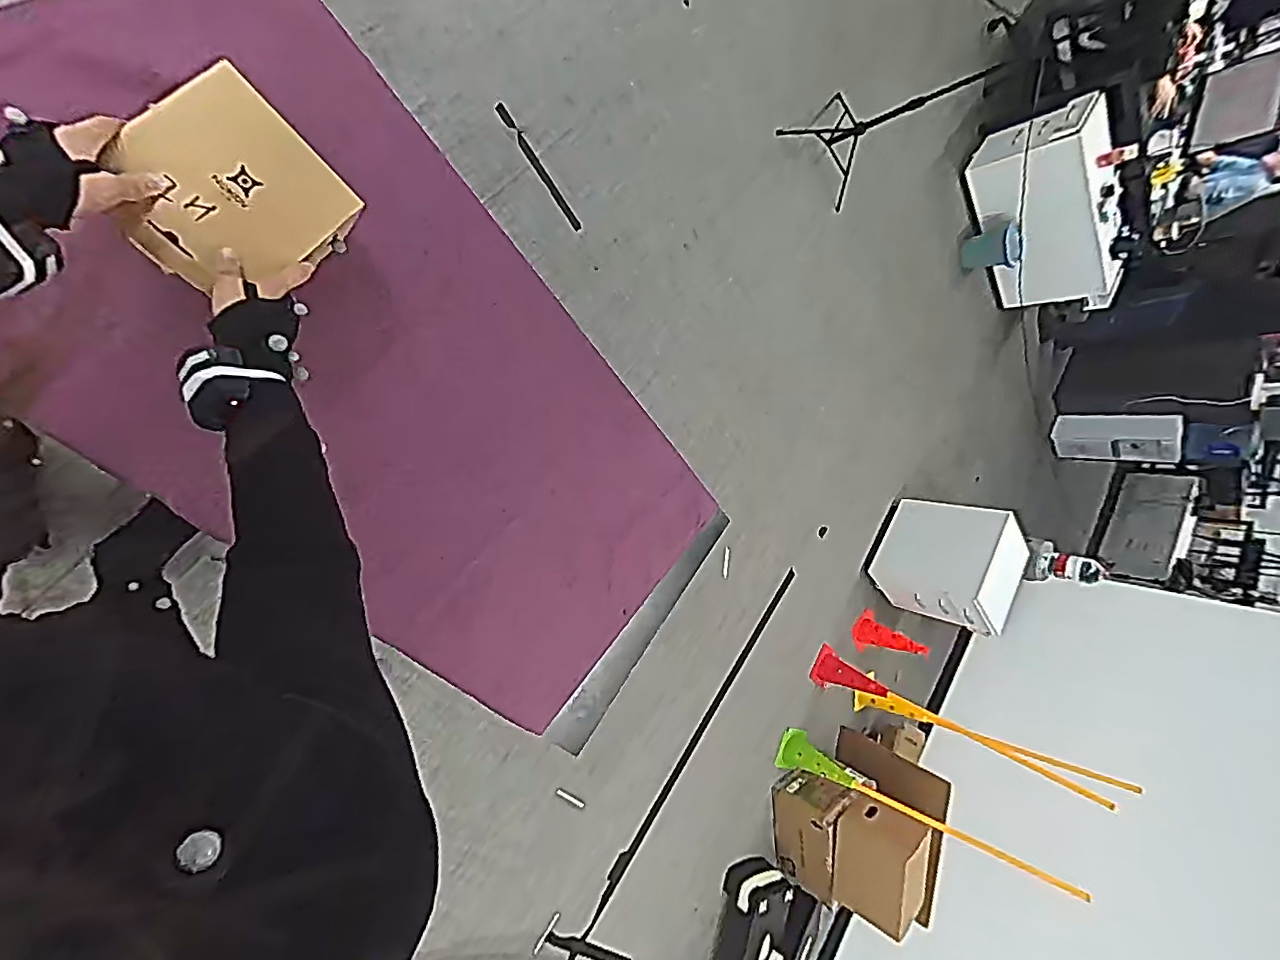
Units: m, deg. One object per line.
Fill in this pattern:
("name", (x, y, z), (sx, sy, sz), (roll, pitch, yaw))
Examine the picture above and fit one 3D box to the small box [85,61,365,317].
("small box", (-0.457, -0.312, 0.616), (0.168, 0.176, 0.179), (47, 68, -31))
